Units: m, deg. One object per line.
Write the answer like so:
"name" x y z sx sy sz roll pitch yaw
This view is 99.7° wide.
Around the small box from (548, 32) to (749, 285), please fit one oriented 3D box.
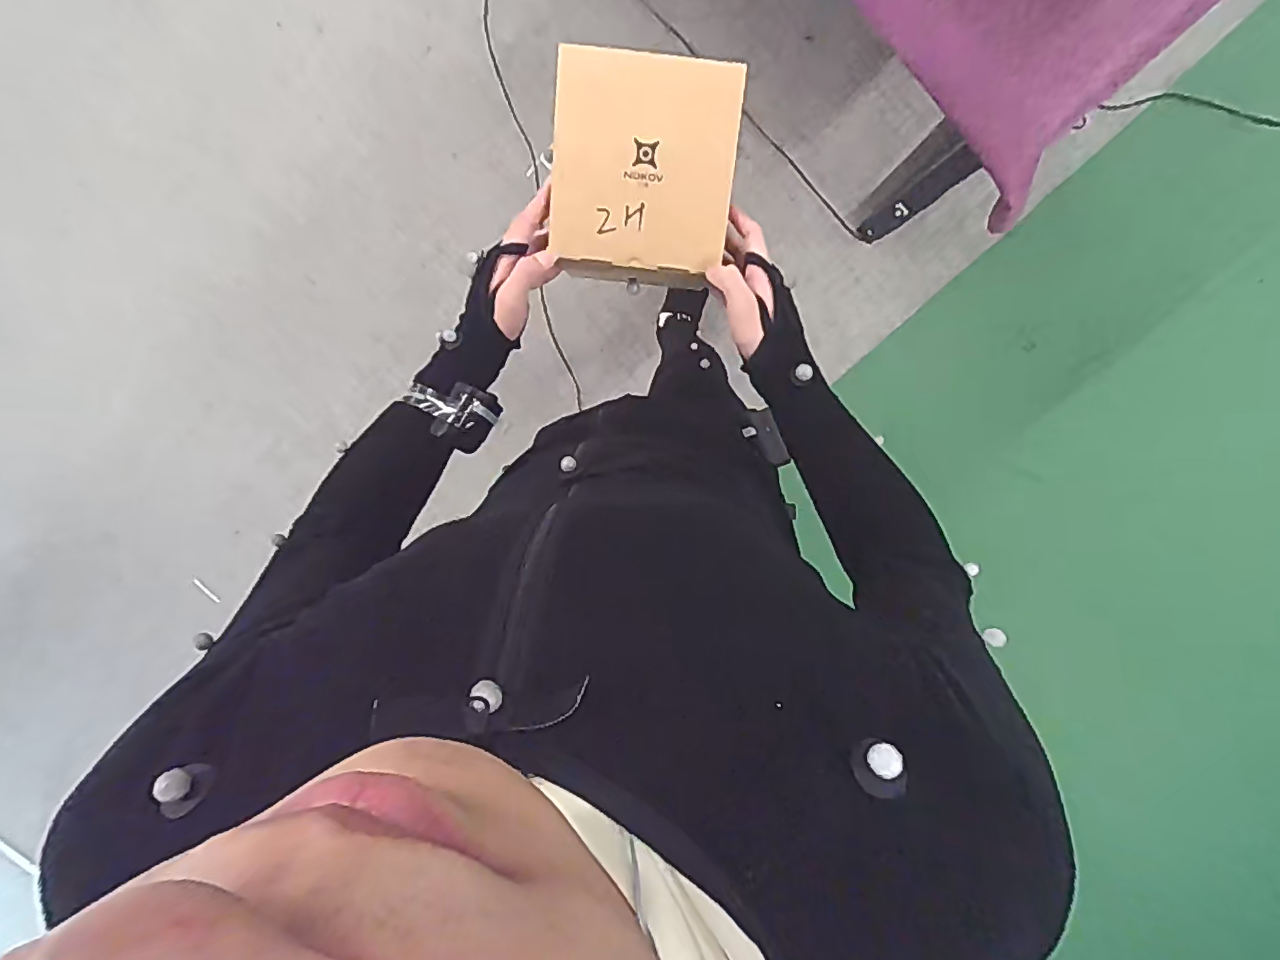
"small box" 0.003 -0.308 0.558 0.168 0.176 0.179 6 105 -1
